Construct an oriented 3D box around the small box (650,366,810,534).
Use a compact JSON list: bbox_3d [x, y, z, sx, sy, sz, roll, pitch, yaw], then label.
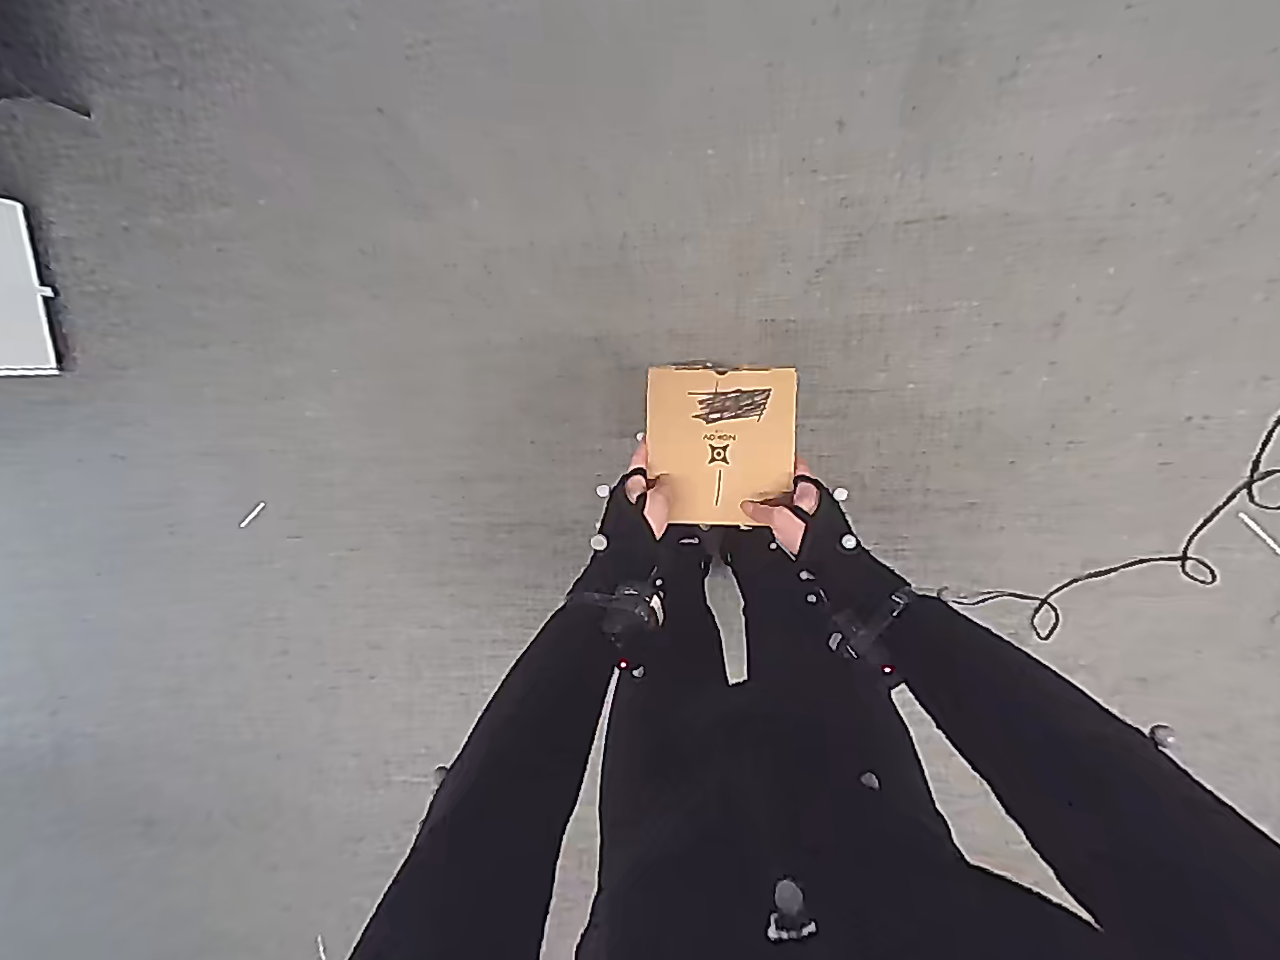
[{"bbox_3d":[0.103,-0.032,0.673,0.168,0.176,0.179,5,90,4],"label":"small box"}]
